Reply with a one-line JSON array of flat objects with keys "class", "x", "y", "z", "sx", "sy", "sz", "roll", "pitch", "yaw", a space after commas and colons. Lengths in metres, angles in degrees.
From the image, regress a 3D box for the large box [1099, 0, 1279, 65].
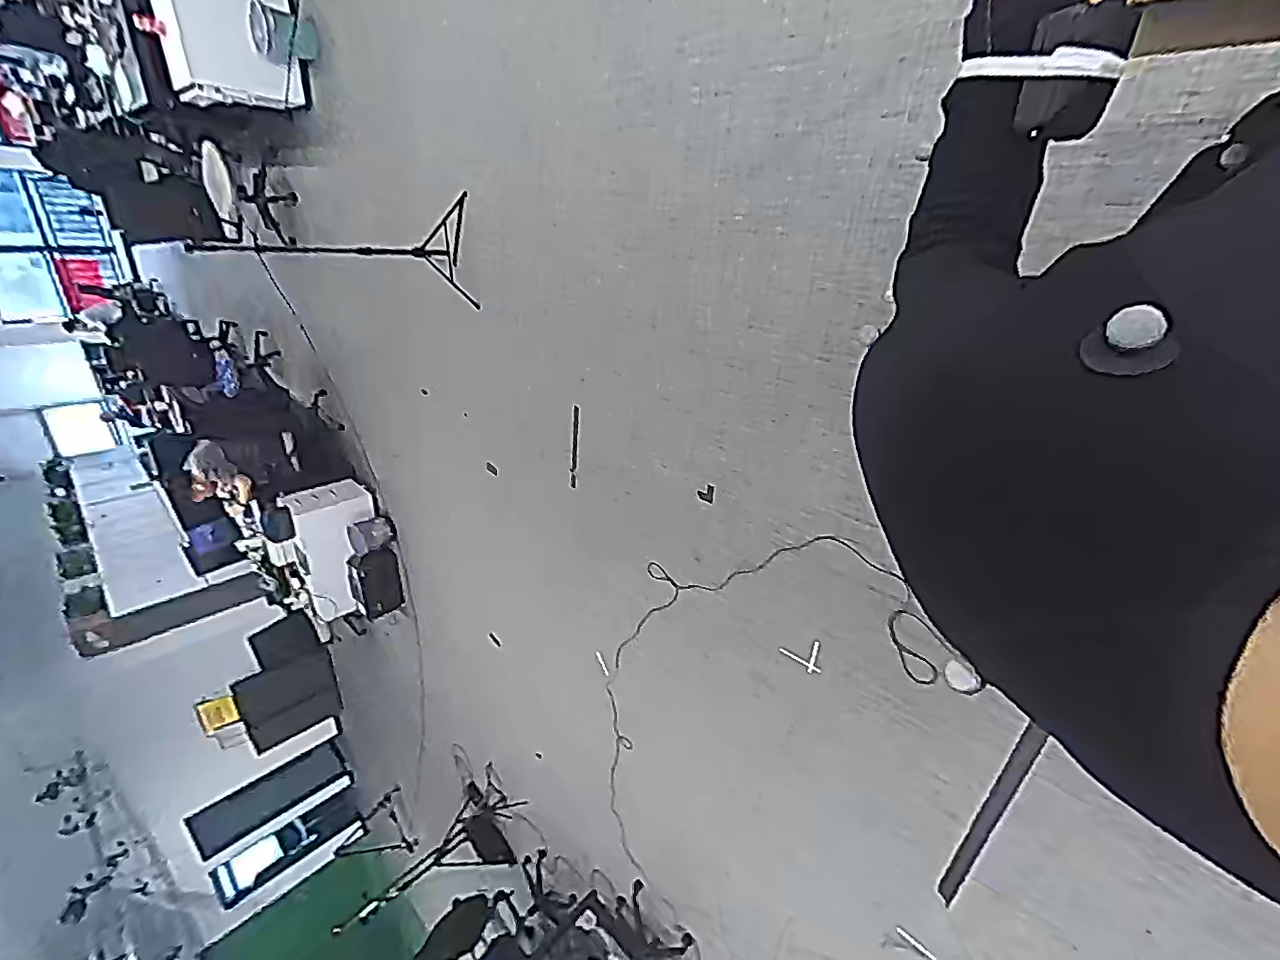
[{"class": "large box", "x": 0.514, "y": -0.422, "z": 0.242, "sx": 0.408, "sy": 0.320, "sz": 0.320, "roll": 20, "pitch": 128, "yaw": 35}]
